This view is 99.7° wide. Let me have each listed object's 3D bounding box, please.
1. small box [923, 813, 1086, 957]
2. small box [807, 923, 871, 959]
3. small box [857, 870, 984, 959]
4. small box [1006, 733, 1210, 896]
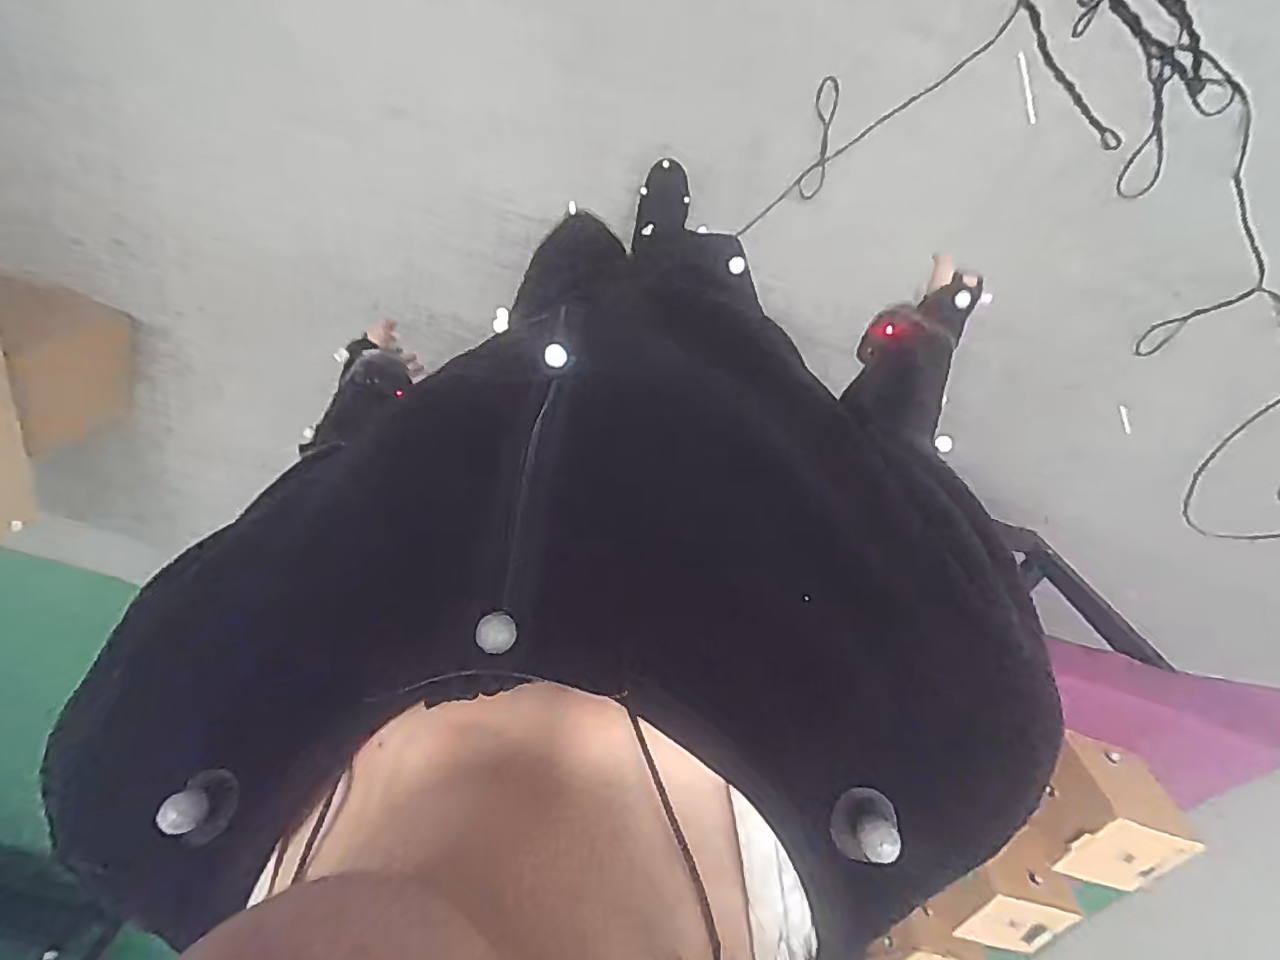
[{"bbox_3d":[0.711,0.802,1.080,0.179,0.176,0.168,16,118,-4],"label":"small box"},{"bbox_3d":[0.514,1.218,1.318,0.168,0.176,0.179,1,118,3],"label":"small box"},{"bbox_3d":[0.612,1.010,1.200,0.168,0.176,0.179,23,117,-7],"label":"small box"},{"bbox_3d":[0.804,0.583,0.956,0.179,0.176,0.168,21,118,-6],"label":"small box"}]
